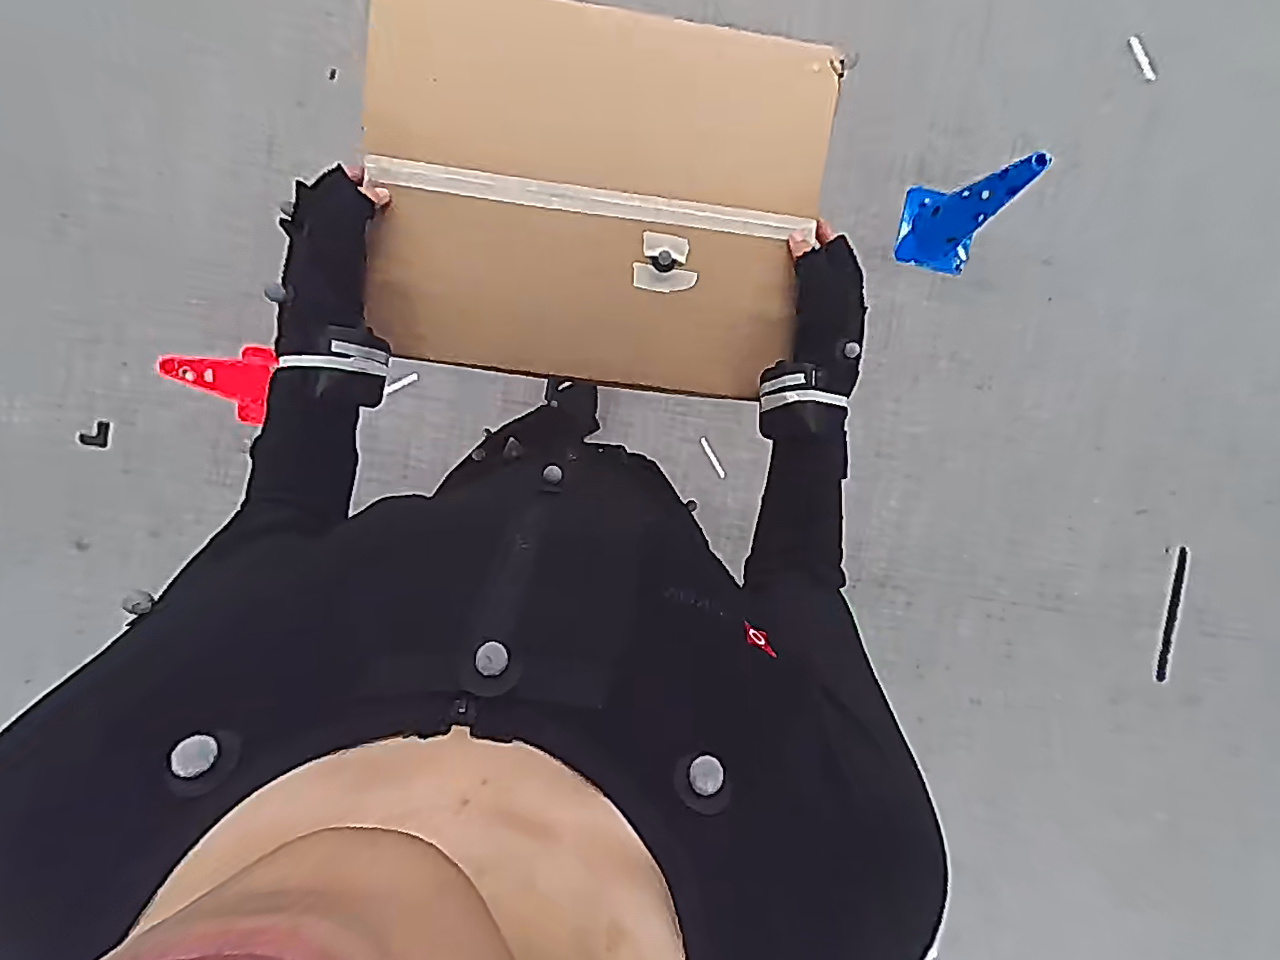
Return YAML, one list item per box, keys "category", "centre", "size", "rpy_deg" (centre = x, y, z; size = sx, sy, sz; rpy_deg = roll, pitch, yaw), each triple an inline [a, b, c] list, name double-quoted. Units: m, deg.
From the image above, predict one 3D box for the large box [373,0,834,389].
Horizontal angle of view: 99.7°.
- category: "large box"
  centre: [-0.047, -0.285, 0.640]
  size: [0.408, 0.320, 0.320]
  rpy_deg: [6, 99, -5]

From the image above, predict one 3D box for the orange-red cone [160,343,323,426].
- category: "orange-red cone"
  centre: [-0.913, -0.231, 1.218]
  size: [0.198, 0.360, 0.199]
  rpy_deg: [7, 94, -2]

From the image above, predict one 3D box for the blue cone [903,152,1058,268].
- category: "blue cone"
  centre: [0.820, -0.669, 1.293]
  size: [0.192, 0.380, 0.193]
  rpy_deg: [13, 93, -5]
